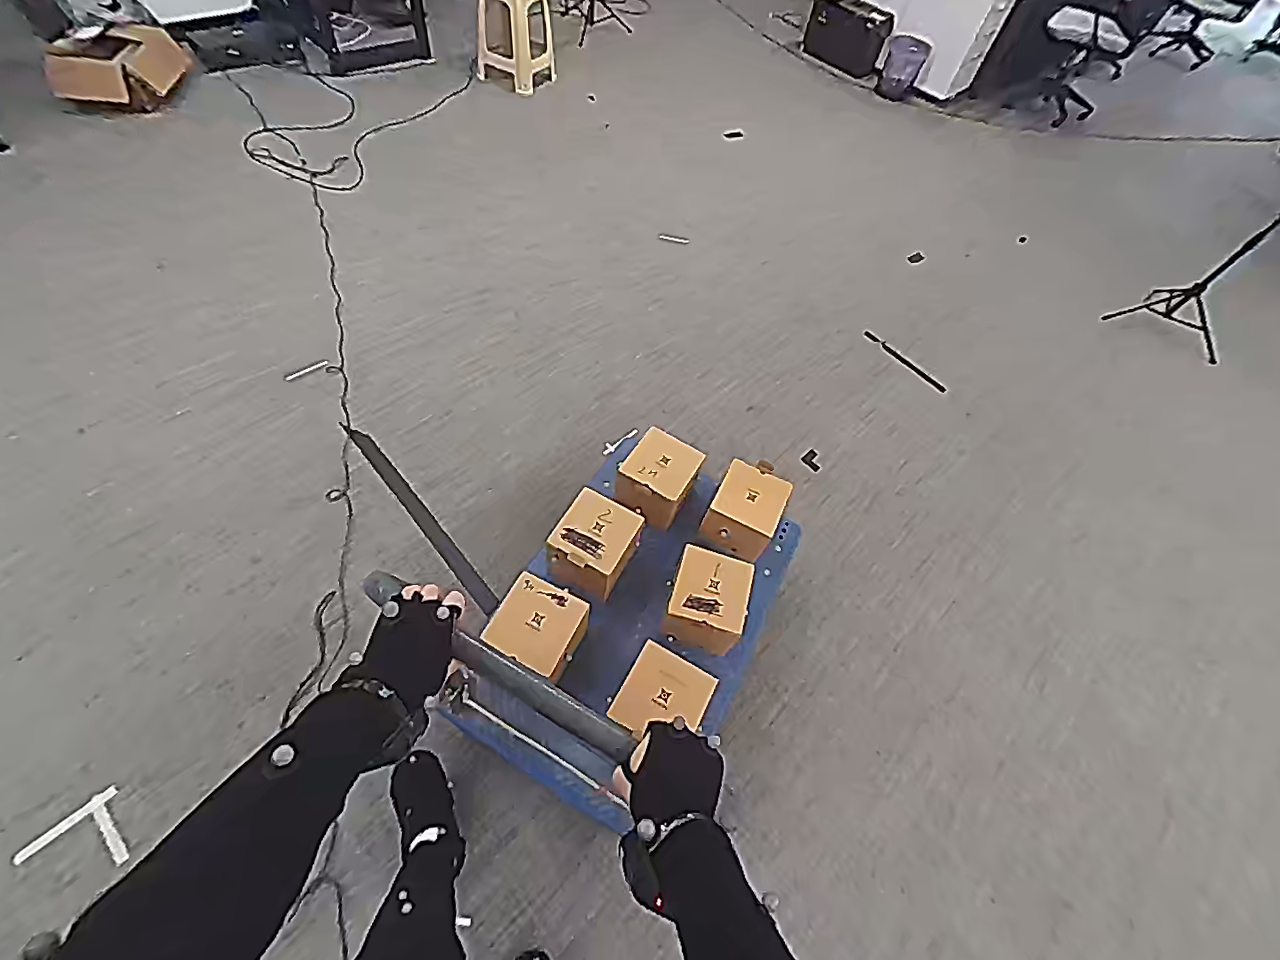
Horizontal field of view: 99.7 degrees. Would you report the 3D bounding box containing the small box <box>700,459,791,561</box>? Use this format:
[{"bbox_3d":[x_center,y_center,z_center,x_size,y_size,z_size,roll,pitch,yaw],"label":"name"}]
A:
[{"bbox_3d":[0.270,0.084,1.414,0.168,0.176,0.179,26,57,9],"label":"small box"}]

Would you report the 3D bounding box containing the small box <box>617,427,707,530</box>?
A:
[{"bbox_3d":[0.051,-0.001,1.434,0.168,0.176,0.179,30,59,11],"label":"small box"}]

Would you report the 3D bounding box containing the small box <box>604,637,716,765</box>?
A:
[{"bbox_3d":[0.036,0.468,1.132,0.168,0.176,0.179,29,57,10],"label":"small box"}]

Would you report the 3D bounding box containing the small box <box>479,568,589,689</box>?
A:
[{"bbox_3d":[-0.224,0.330,1.181,0.168,0.176,0.179,26,58,8],"label":"small box"}]

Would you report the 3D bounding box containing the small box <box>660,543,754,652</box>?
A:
[{"bbox_3d":[0.151,0.282,1.268,0.168,0.176,0.179,18,56,4],"label":"small box"}]
